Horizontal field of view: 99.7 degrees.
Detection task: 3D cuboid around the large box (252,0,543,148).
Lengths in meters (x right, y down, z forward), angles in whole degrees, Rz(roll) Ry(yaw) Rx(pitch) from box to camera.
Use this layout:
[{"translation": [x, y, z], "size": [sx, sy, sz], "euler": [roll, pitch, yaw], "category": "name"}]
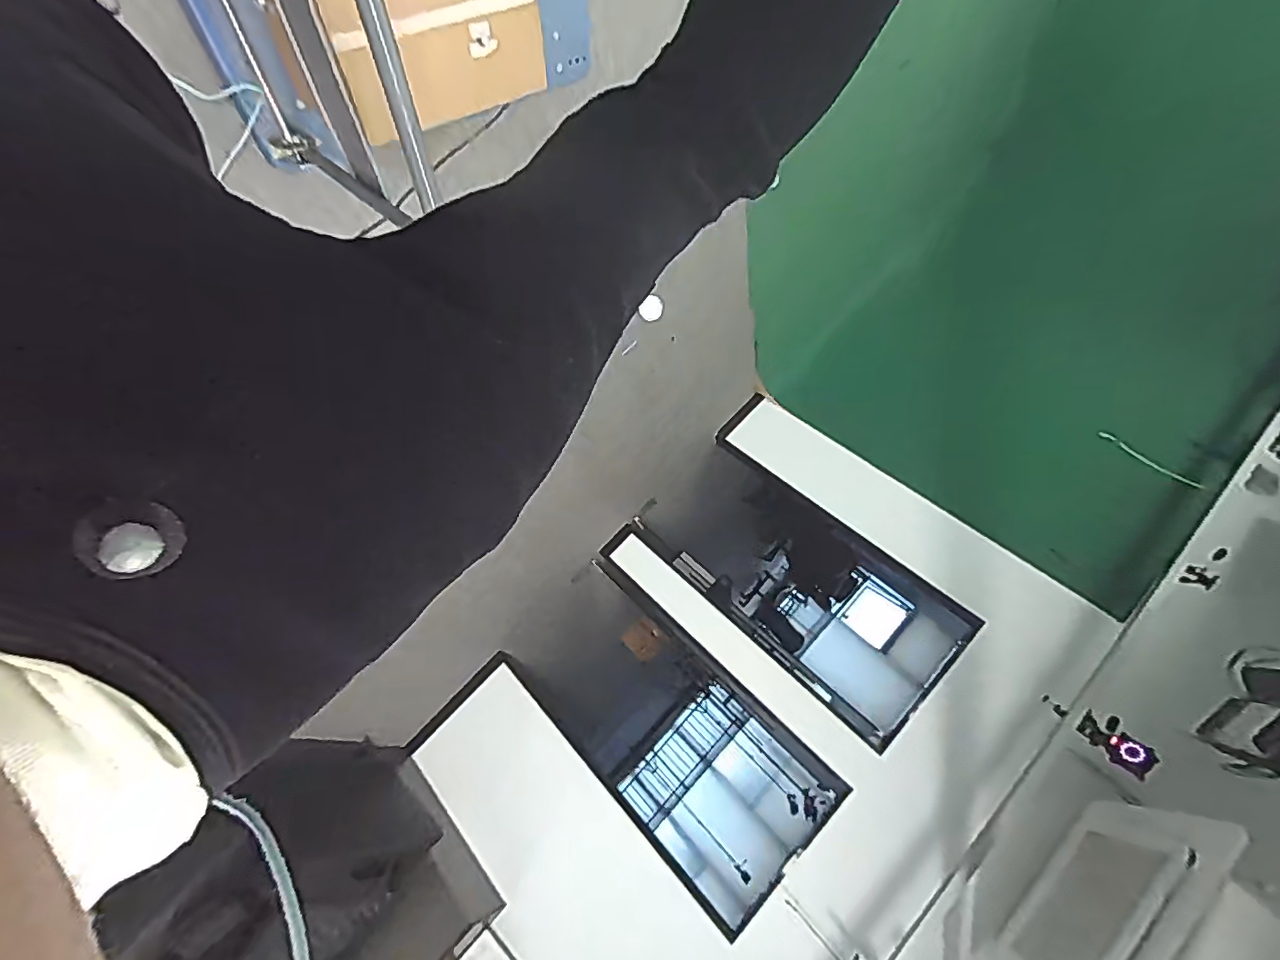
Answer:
[{"translation": [-0.450, -0.877, 0.987], "size": [0.408, 0.320, 0.320], "euler": [-38, 152, -24], "category": "large box"}]
